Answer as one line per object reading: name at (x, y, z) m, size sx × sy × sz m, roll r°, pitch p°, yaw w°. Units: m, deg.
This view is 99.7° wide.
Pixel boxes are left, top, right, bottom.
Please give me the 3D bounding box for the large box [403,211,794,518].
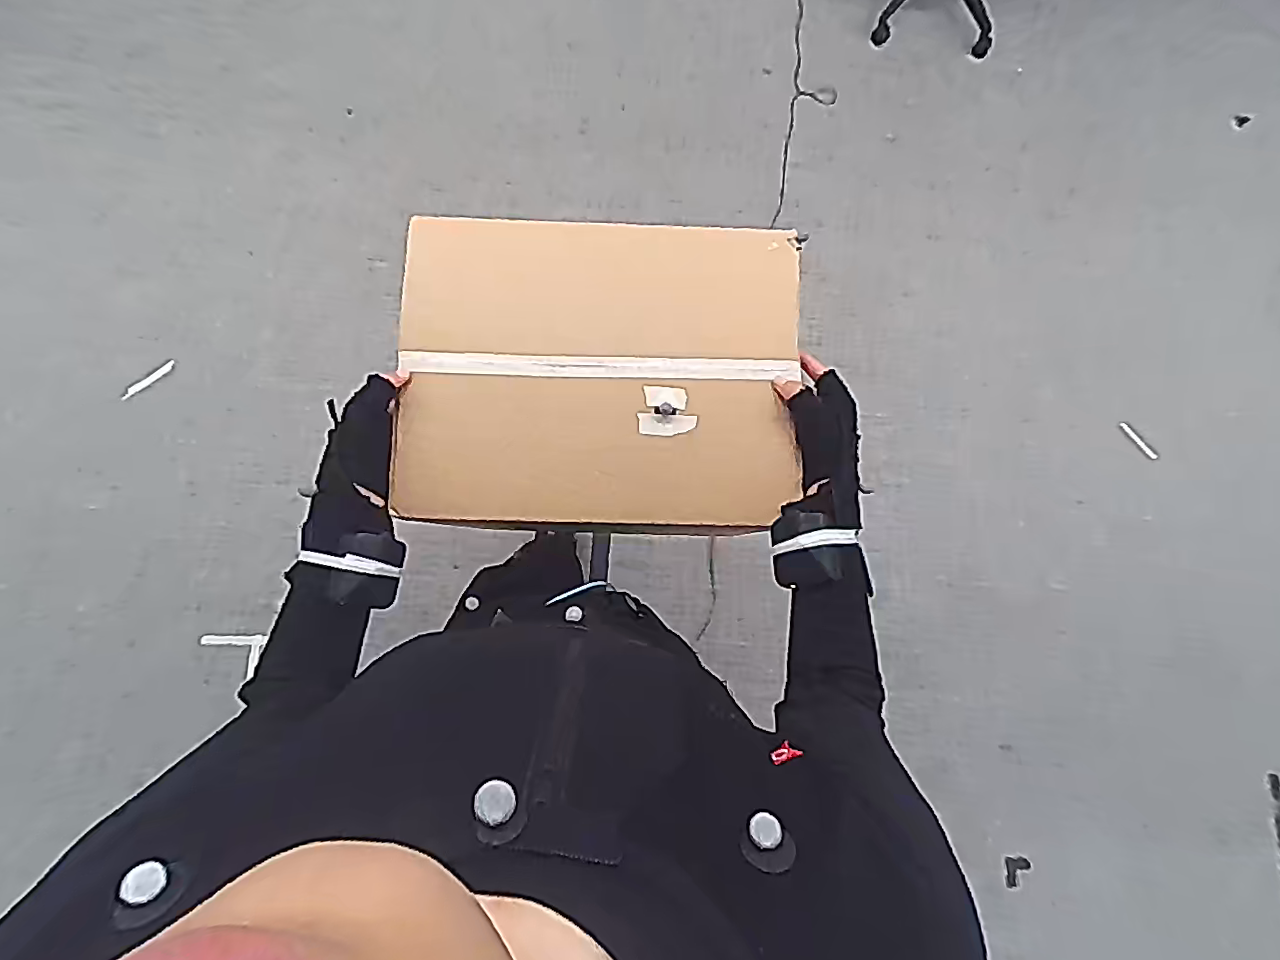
large box at (-0.045, -0.113, 0.709) m, size 0.408 × 0.320 × 0.320 m, roll 2°, pitch 84°, yaw -2°
